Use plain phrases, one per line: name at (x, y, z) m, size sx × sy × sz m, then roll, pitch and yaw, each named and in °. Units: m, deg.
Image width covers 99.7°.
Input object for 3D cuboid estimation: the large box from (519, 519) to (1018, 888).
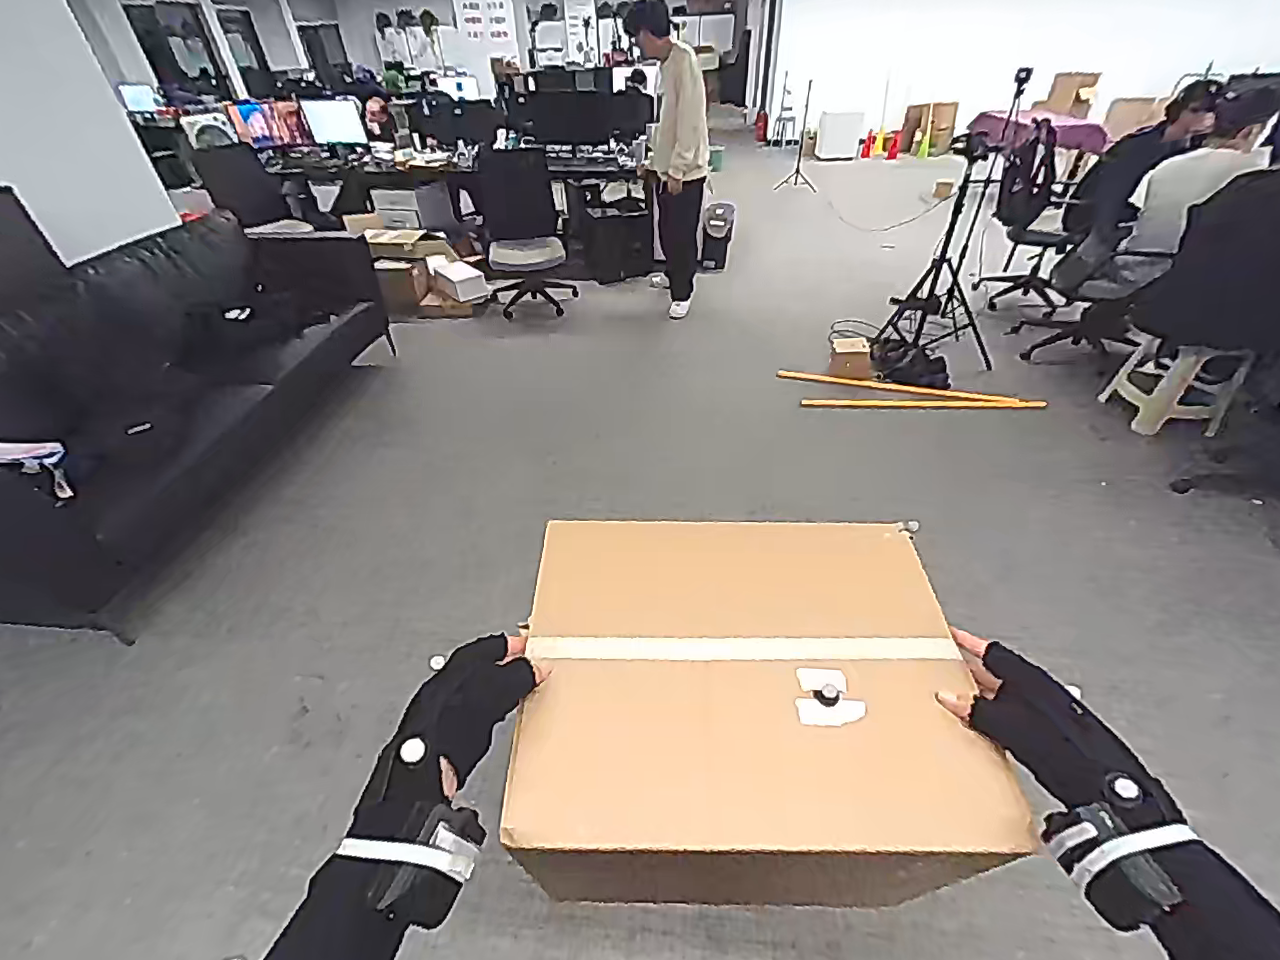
large box at (0.096, 0.259, 0.629) m, size 0.408 × 0.320 × 0.320 m, roll 1°, pitch 47°, yaw -1°
